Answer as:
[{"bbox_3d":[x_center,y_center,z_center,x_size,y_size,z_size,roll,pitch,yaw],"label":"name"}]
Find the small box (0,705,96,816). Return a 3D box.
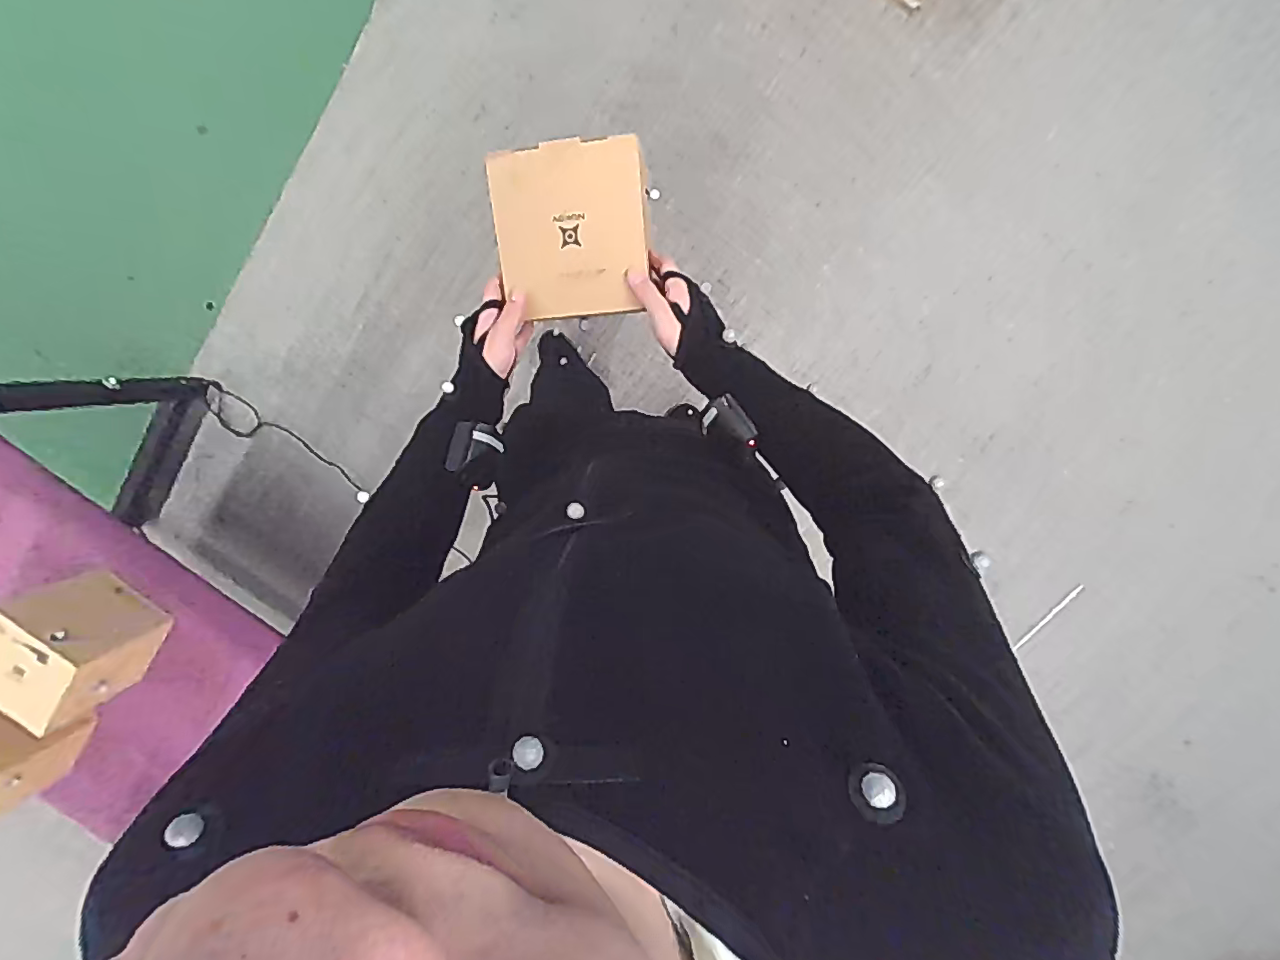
[{"bbox_3d":[-1.205,0.513,1.024,0.168,0.176,0.179,36,102,-3],"label":"small box"}]

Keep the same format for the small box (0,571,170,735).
[{"bbox_3d":[-0.991,0.295,0.950,0.168,0.176,0.179,38,105,-4],"label":"small box"}]
